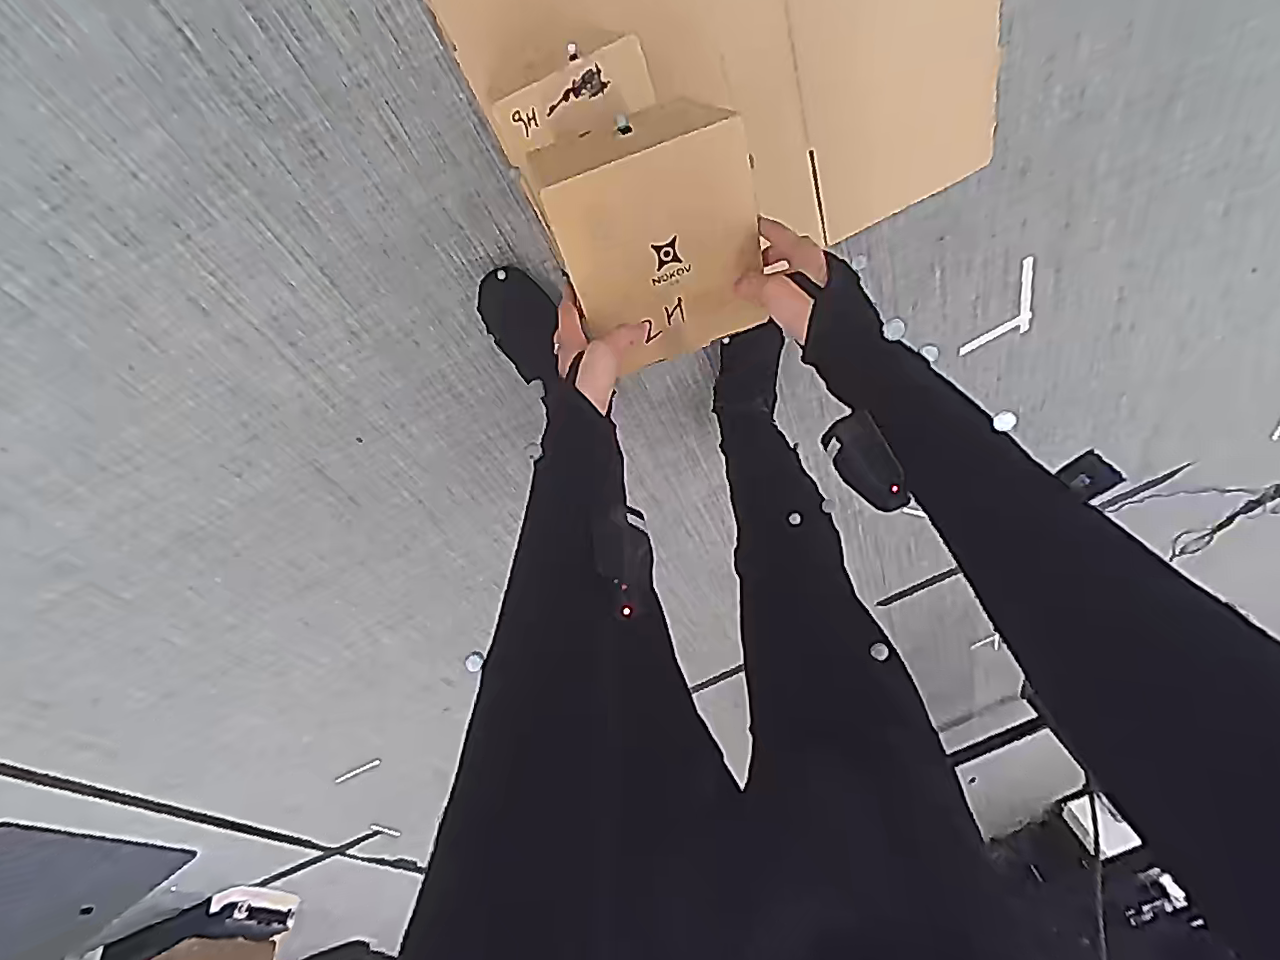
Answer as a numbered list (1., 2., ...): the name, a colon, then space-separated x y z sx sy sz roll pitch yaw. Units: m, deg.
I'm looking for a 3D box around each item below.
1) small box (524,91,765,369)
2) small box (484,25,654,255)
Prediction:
1. small box: 0.000 -0.240 0.508 0.168 0.176 0.179 -20 132 1
2. small box: -0.069 -0.403 0.645 0.168 0.176 0.179 -24 133 3
